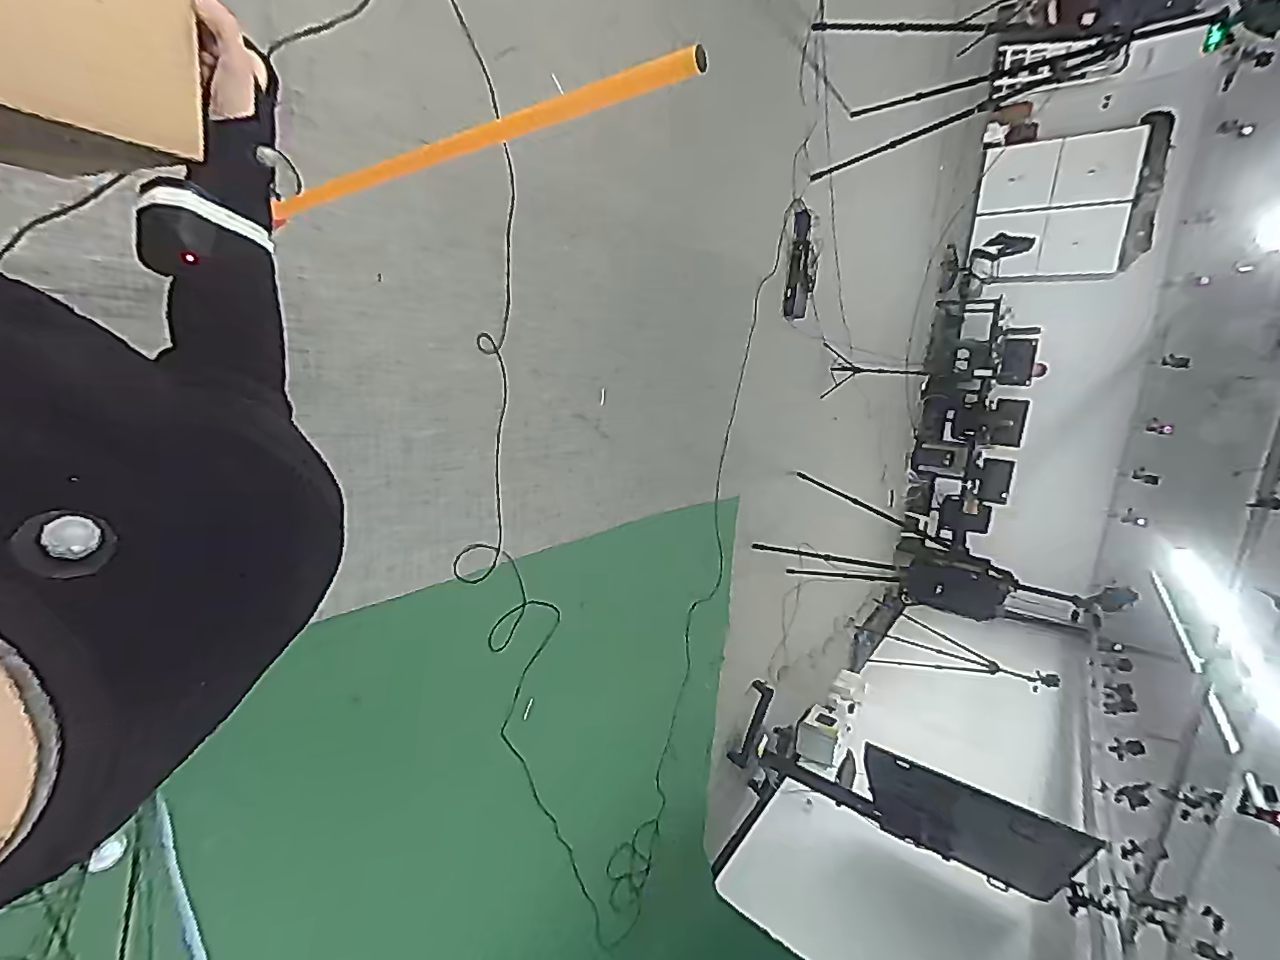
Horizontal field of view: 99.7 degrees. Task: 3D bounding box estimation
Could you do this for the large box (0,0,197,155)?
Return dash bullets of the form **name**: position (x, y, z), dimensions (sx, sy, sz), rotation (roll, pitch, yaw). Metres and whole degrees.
- **large box**: position (-0.571, -0.418, 0.307), dimensions (0.408, 0.320, 0.320), rotation (-18, 118, -57)
